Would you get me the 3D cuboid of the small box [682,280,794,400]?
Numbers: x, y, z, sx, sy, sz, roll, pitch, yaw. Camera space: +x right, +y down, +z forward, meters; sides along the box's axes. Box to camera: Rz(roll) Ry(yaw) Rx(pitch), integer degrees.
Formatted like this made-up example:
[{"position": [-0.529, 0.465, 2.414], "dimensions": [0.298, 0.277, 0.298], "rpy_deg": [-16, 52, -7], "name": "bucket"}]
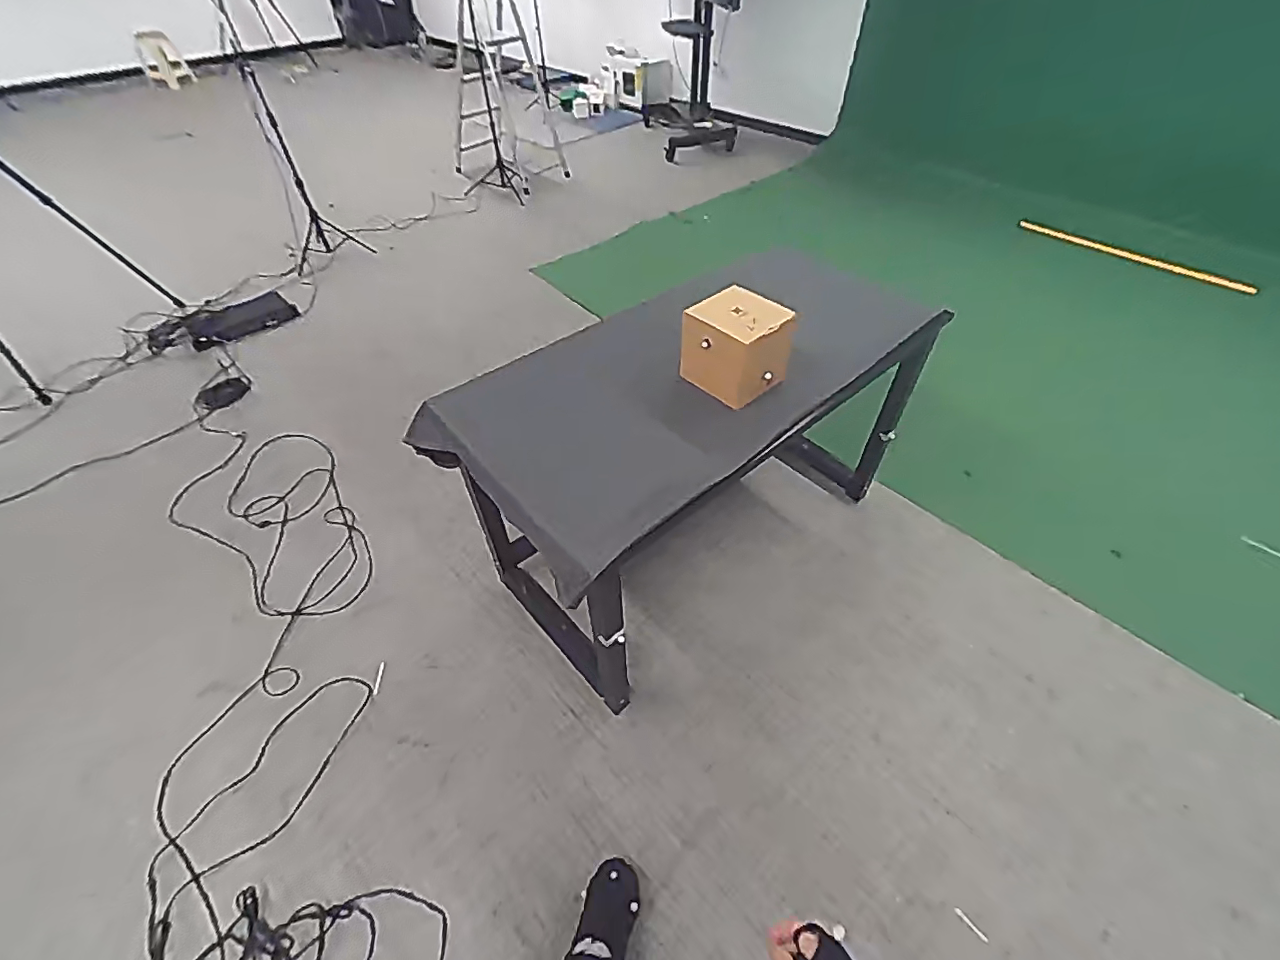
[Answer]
[{"position": [0.204, -0.303, 1.179], "dimensions": [0.168, 0.176, 0.179], "rpy_deg": [-35, 56, -26], "name": "small box"}]
